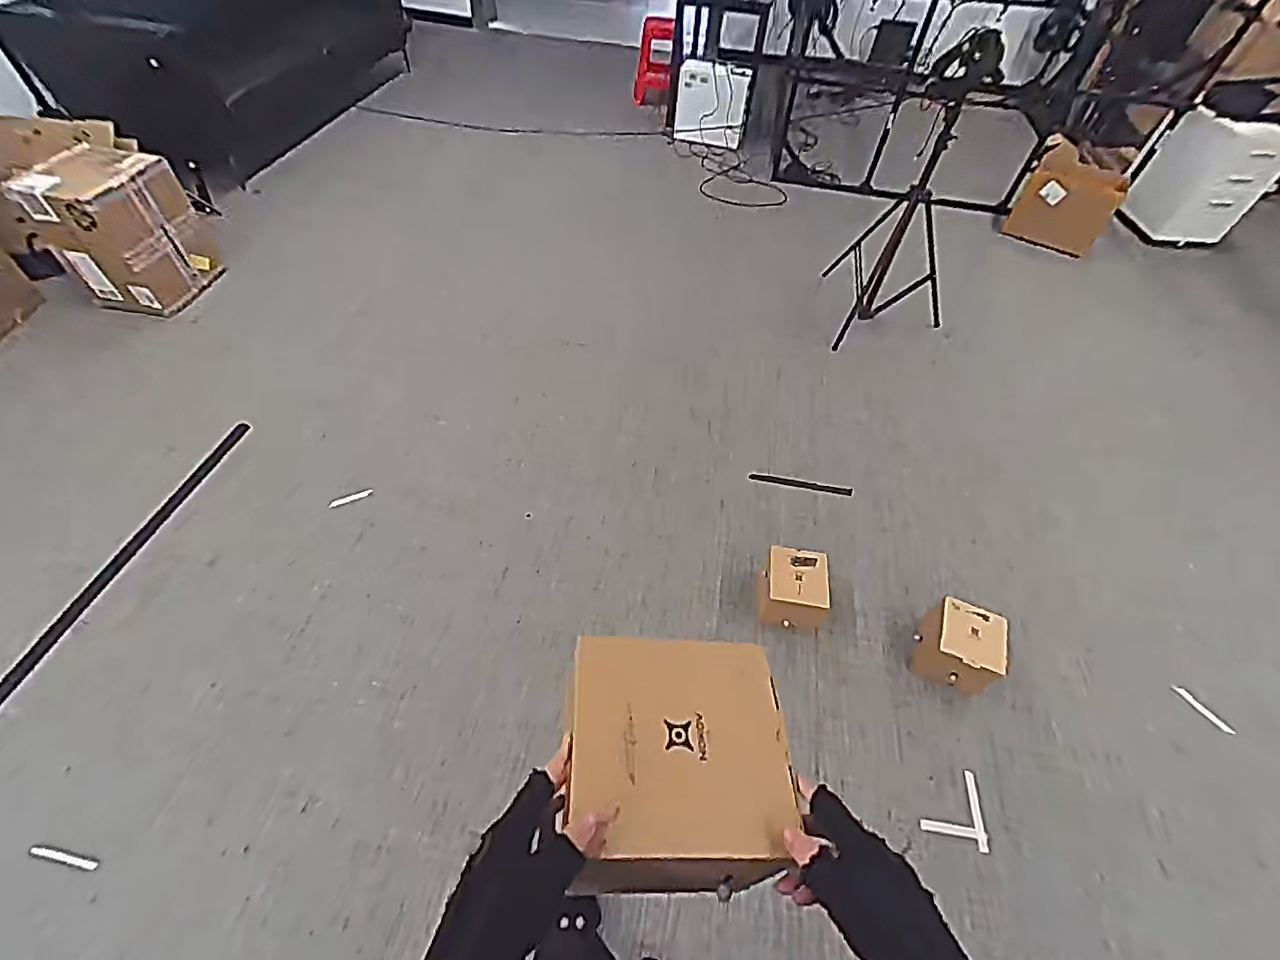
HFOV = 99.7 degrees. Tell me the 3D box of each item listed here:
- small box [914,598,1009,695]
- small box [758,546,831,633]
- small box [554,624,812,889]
[{"bbox_3d":[0.882,0.464,1.491,0.168,0.176,0.179,22,54,13],"label":"small box"},{"bbox_3d":[0.443,0.320,1.571,0.168,0.176,0.179,9,53,3],"label":"small box"},{"bbox_3d":[0.021,0.247,0.481,0.179,0.176,0.168,5,44,-9],"label":"small box"}]
